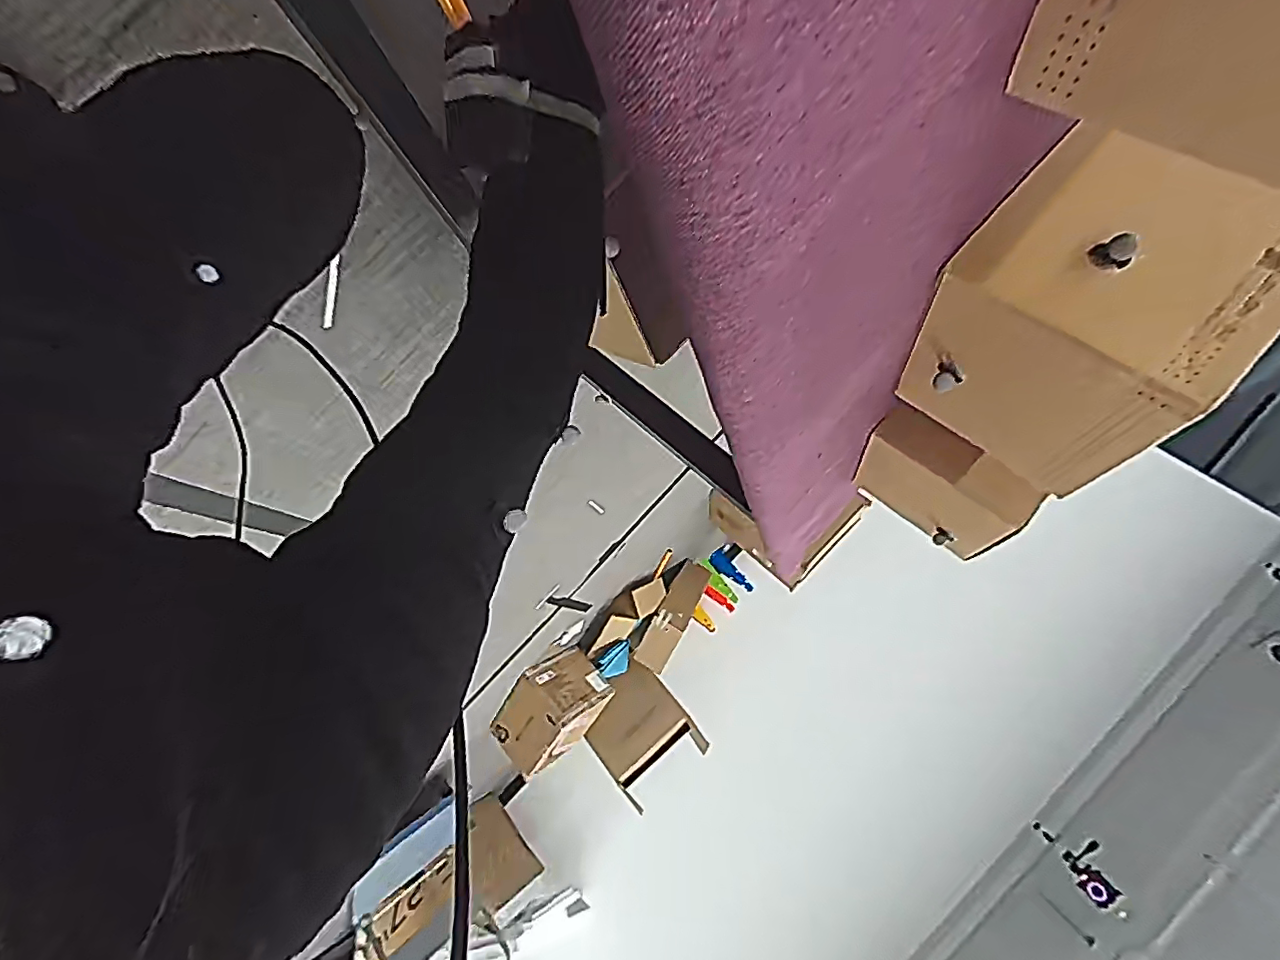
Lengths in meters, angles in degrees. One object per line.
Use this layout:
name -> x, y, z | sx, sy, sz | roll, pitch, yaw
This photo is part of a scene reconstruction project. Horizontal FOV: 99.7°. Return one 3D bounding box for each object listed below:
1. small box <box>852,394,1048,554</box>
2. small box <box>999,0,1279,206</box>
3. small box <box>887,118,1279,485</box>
small box -> 0.377, -0.040, 0.642 | 0.168, 0.176, 0.179 | -48, 158, -5
small box -> 0.256, -0.214, 0.151 | 0.179, 0.176, 0.168 | -46, 157, -3
small box -> 0.329, -0.125, 0.416 | 0.168, 0.176, 0.179 | -47, 157, -5
